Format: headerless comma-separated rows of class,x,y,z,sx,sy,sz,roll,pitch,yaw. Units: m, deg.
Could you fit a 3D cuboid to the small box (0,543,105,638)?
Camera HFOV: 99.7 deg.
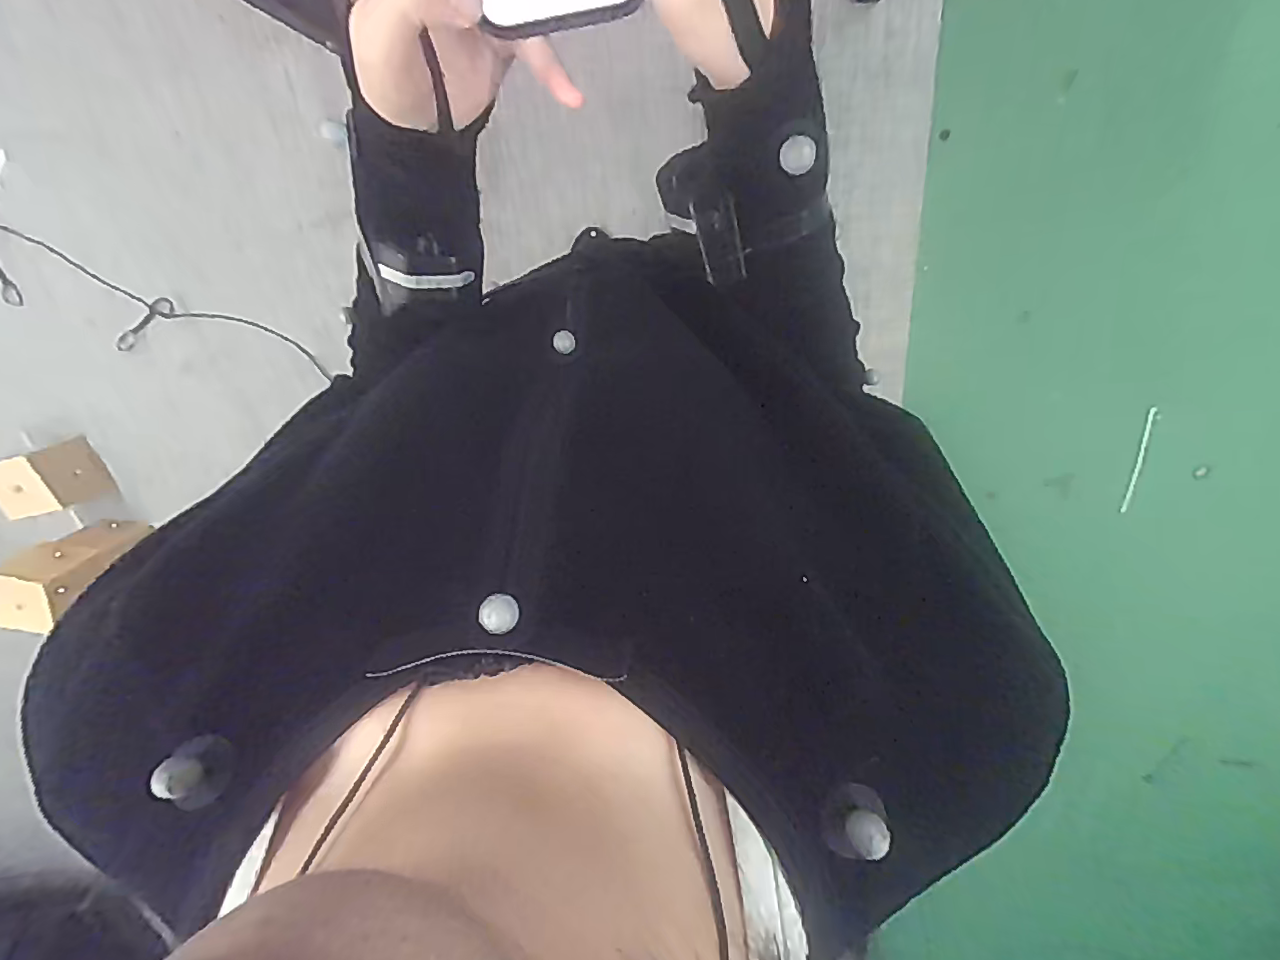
small box,-1.639,0.300,1.490,0.168,0.176,0.179,11,112,-3

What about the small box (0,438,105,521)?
small box,-1.689,-0.007,1.532,0.179,0.176,0.168,-11,113,7
